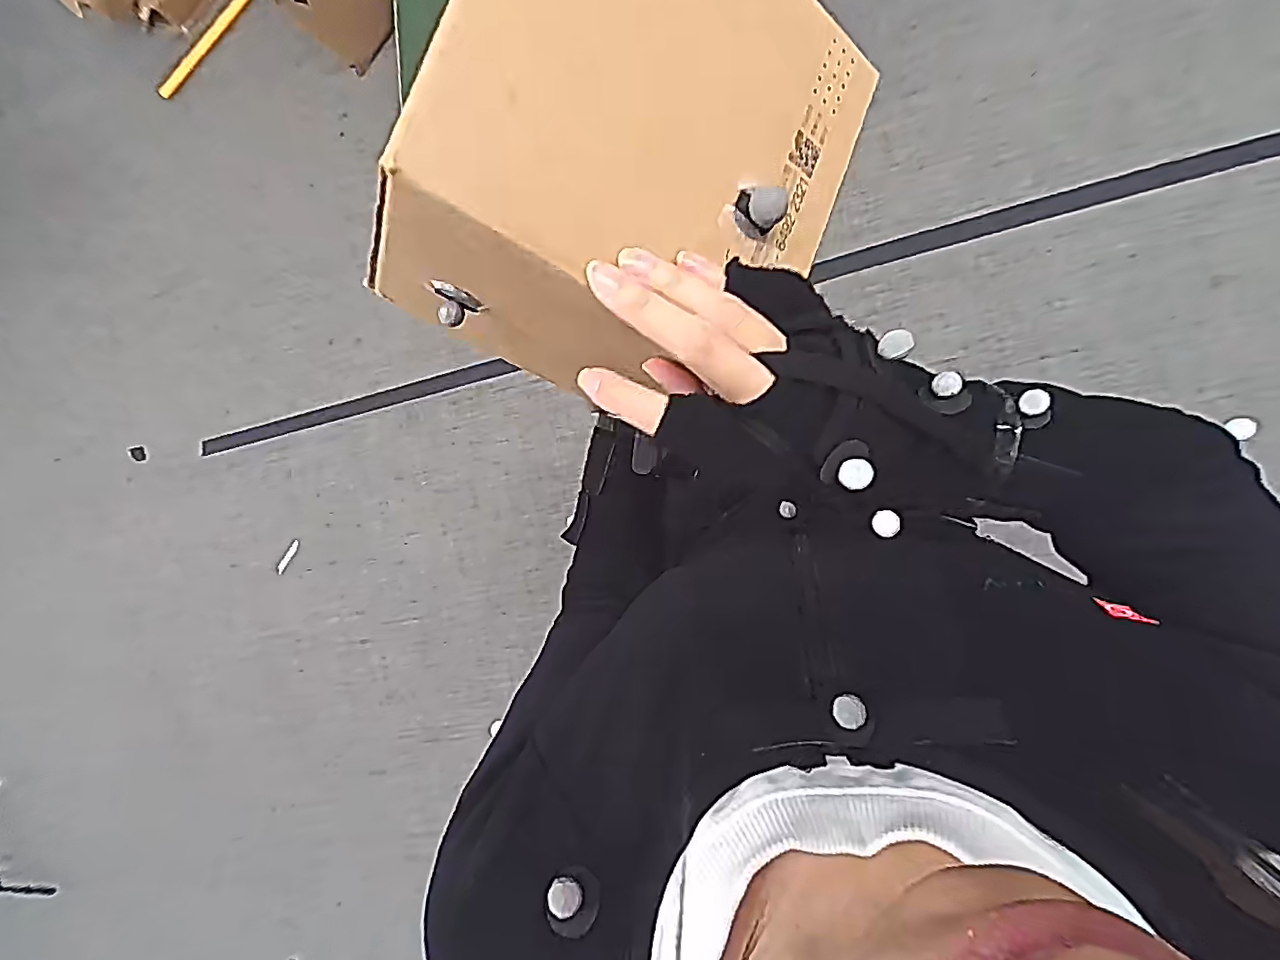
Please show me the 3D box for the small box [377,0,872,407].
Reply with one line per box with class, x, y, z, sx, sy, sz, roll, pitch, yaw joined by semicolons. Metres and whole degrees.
small box;-0.018;-0.146;0.288;0.176;0.179;0.168;23;84;-29
